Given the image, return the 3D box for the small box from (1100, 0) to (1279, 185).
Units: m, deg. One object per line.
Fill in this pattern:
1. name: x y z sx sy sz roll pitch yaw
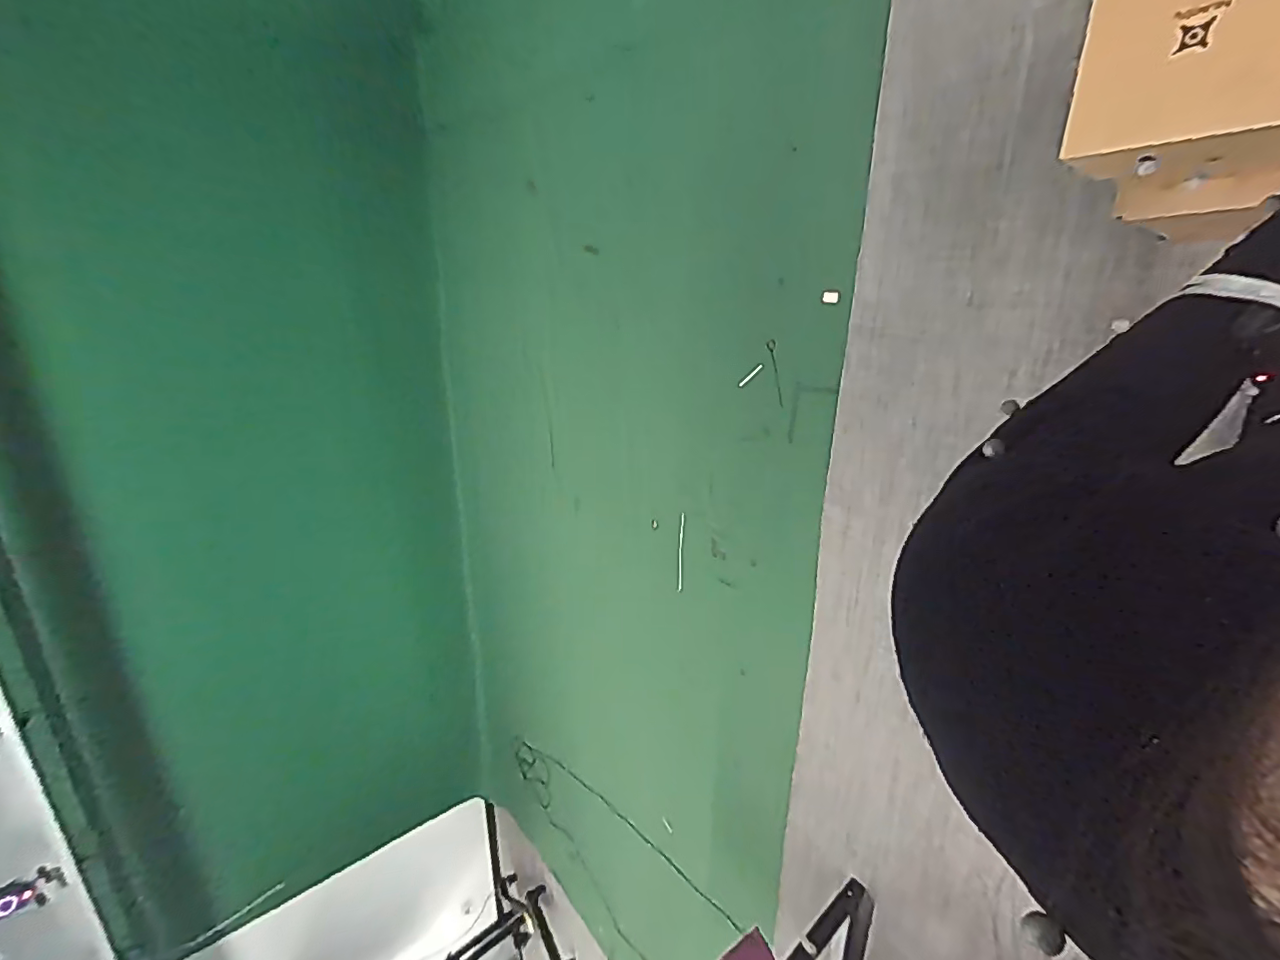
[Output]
1. small box: 0.677 -0.460 0.629 0.168 0.176 0.179 21 119 45
